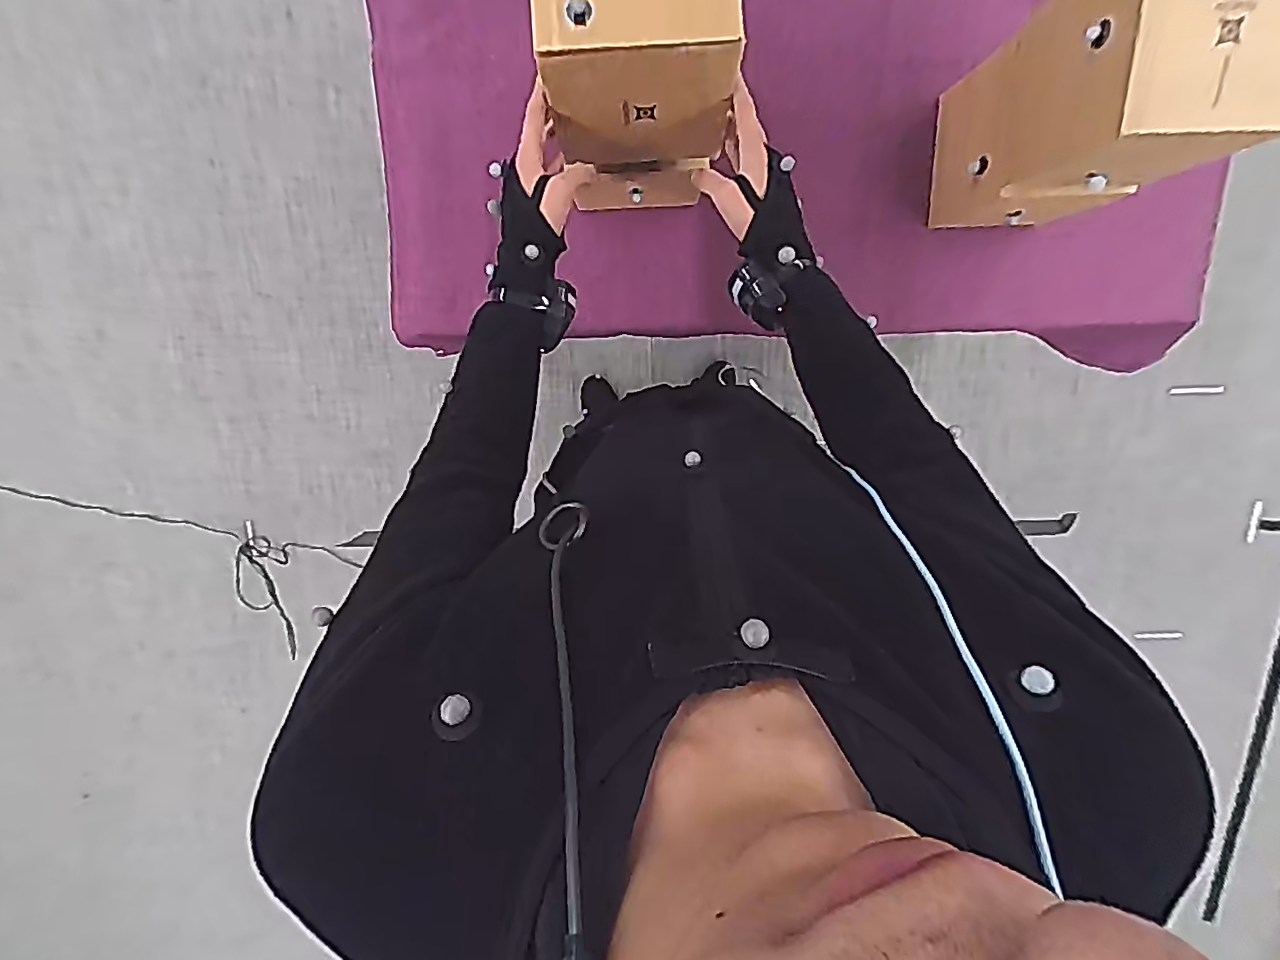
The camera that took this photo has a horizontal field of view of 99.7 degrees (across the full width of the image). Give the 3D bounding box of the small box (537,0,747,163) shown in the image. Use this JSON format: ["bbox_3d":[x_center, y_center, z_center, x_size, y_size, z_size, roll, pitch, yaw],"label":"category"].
[{"bbox_3d":[-0.002,-0.436,0.517,0.179,0.168,0.176,-2,91,0],"label":"small box"}]

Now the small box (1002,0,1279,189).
[{"bbox_3d":[0.508,-0.416,0.550,0.168,0.176,0.179,-1,104,0],"label":"small box"}]

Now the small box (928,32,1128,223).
[{"bbox_3d":[0.506,-0.446,0.712,0.168,0.176,0.179,-1,104,0],"label":"small box"}]
